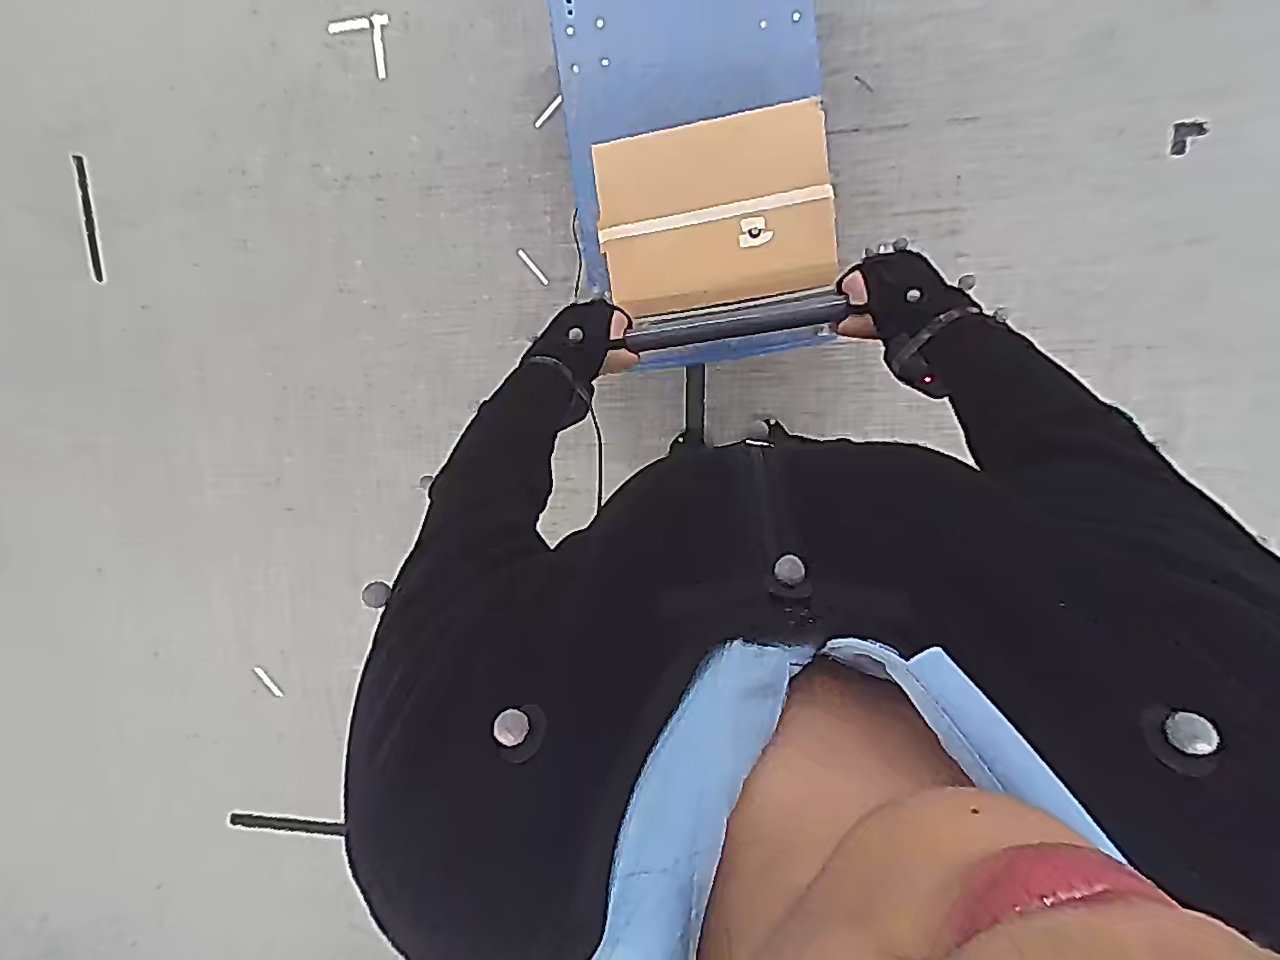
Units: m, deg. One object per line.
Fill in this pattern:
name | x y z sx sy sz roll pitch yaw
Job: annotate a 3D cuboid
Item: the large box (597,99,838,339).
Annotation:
large box | 0.153 -0.498 1.118 0.408 0.320 0.320 -7 97 8
